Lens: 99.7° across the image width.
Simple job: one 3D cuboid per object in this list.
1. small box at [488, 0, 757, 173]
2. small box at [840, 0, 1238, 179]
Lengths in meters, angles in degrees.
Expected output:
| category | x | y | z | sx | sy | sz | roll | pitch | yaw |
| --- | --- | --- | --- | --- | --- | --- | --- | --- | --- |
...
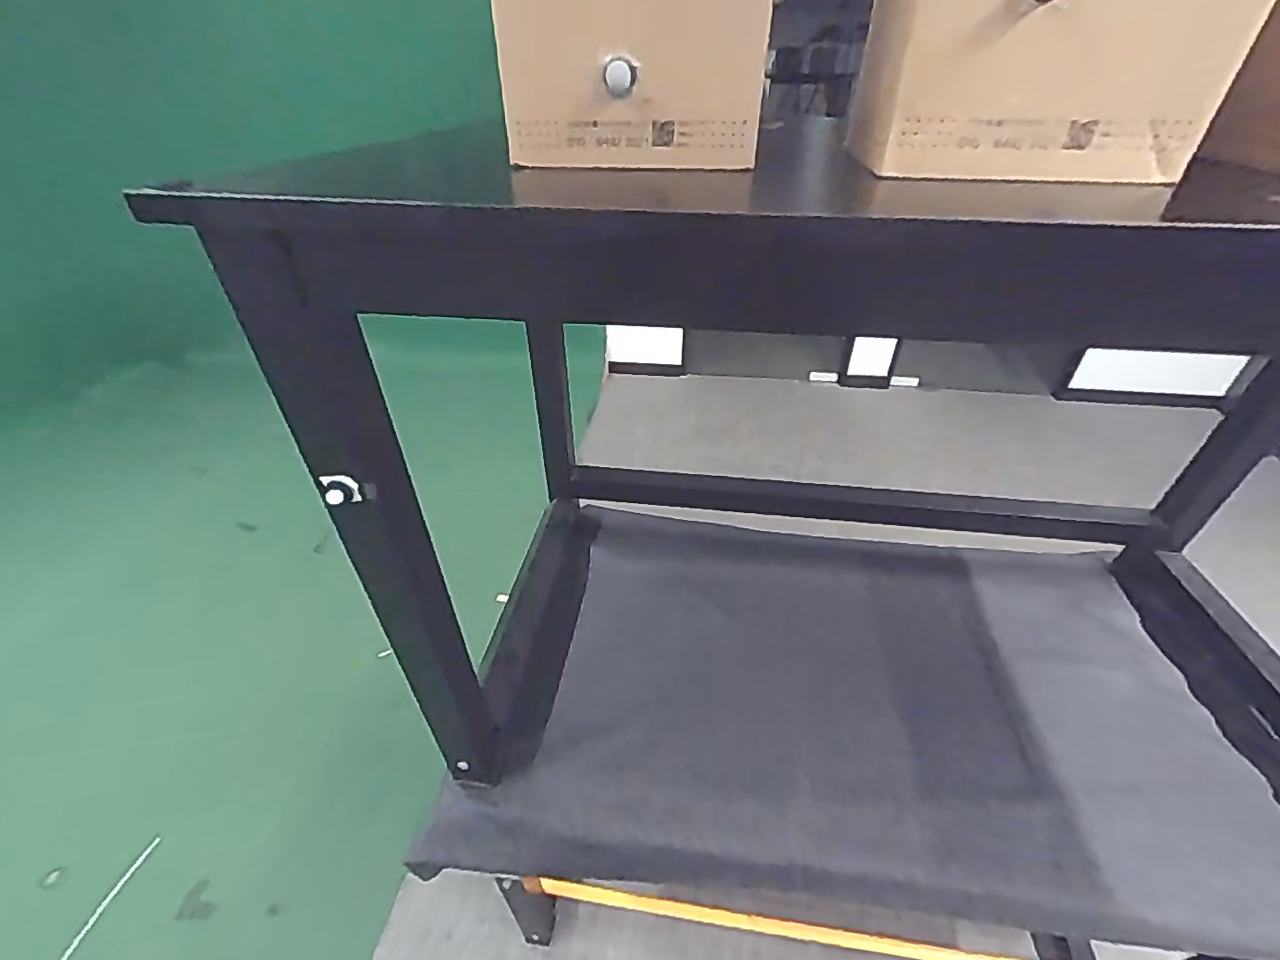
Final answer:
| category | x | y | z | sx | sy | sz | roll | pitch | yaw |
| --- | --- | --- | --- | --- | --- | --- | --- | --- | --- |
| small box | -0.007 | -0.327 | 0.381 | 0.168 | 0.176 | 0.179 | 2 | 38 | 4 |
| small box | 0.232 | -0.293 | 0.335 | 0.168 | 0.176 | 0.179 | 6 | 37 | 9 |
